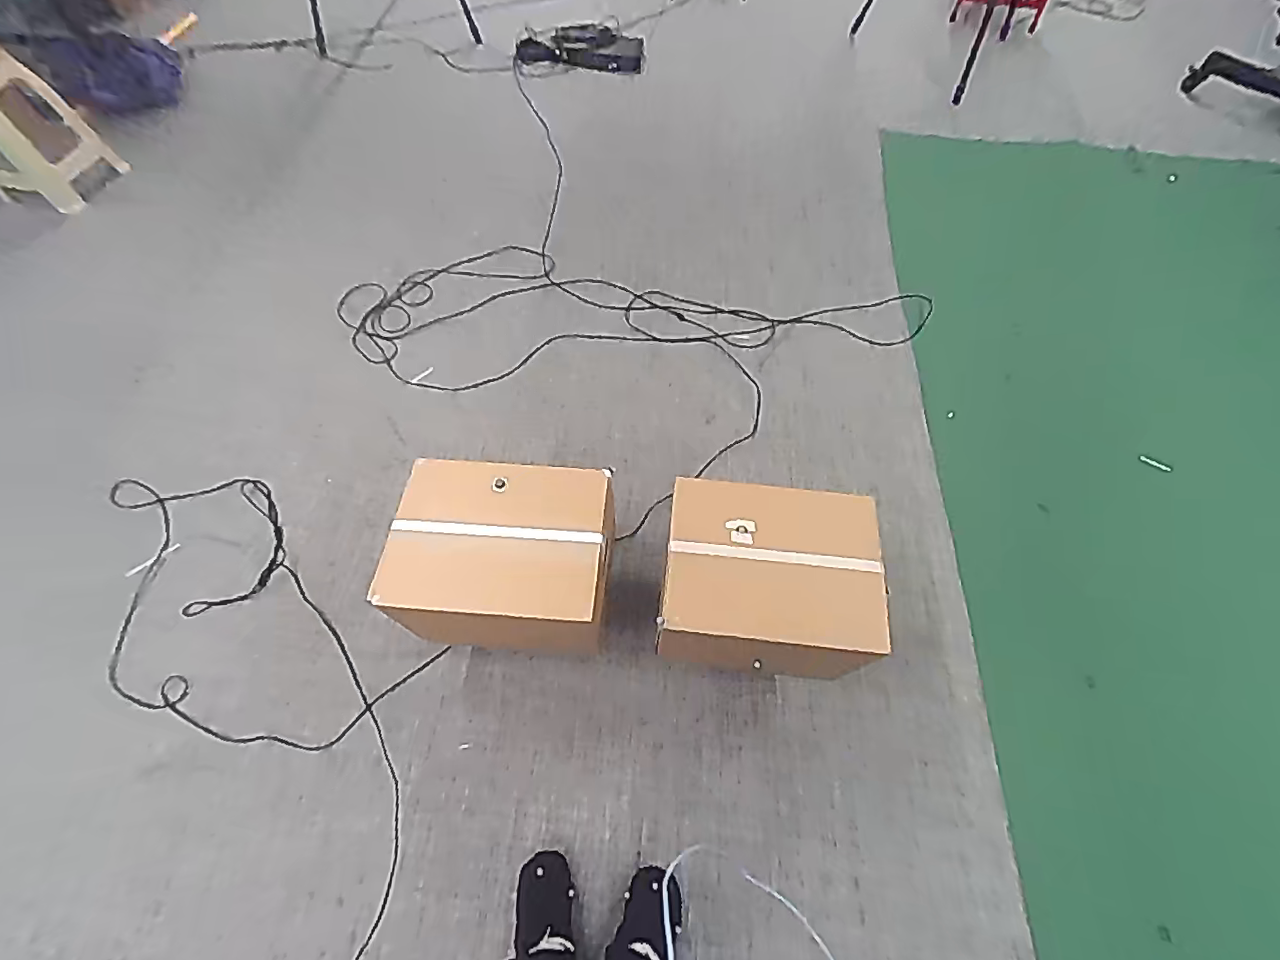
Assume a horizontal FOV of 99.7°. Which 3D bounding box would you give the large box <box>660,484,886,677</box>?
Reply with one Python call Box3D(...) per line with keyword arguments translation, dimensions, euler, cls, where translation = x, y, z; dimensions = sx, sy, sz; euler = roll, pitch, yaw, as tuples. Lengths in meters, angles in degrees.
Box3D(translation=(0.259, 0.229, 1.171), dimensions=(0.408, 0.320, 0.320), euler=(6, 61, 3), cls="large box")
